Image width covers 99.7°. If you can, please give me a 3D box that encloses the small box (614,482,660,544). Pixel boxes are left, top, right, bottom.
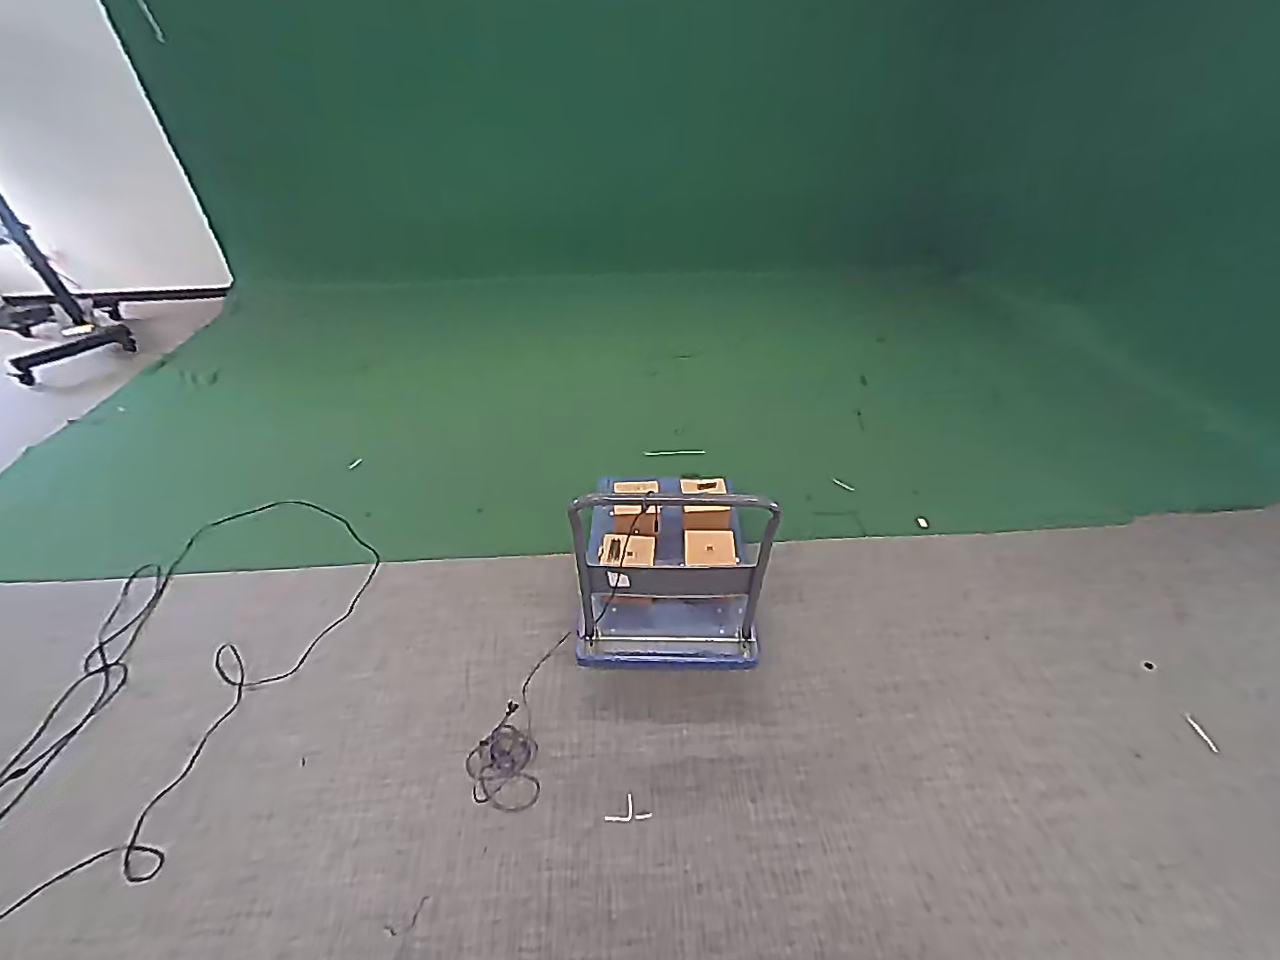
[{"bbox_3d":[-0.010,0.128,2.034,0.168,0.176,0.179,-2,40,-1],"label":"small box"}]

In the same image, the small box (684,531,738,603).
[{"bbox_3d":[0.234,0.293,1.833,0.168,0.176,0.179,1,41,3],"label":"small box"}]

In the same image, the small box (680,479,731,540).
[{"bbox_3d":[0.242,0.117,2.038,0.168,0.176,0.179,-3,41,0],"label":"small box"}]
